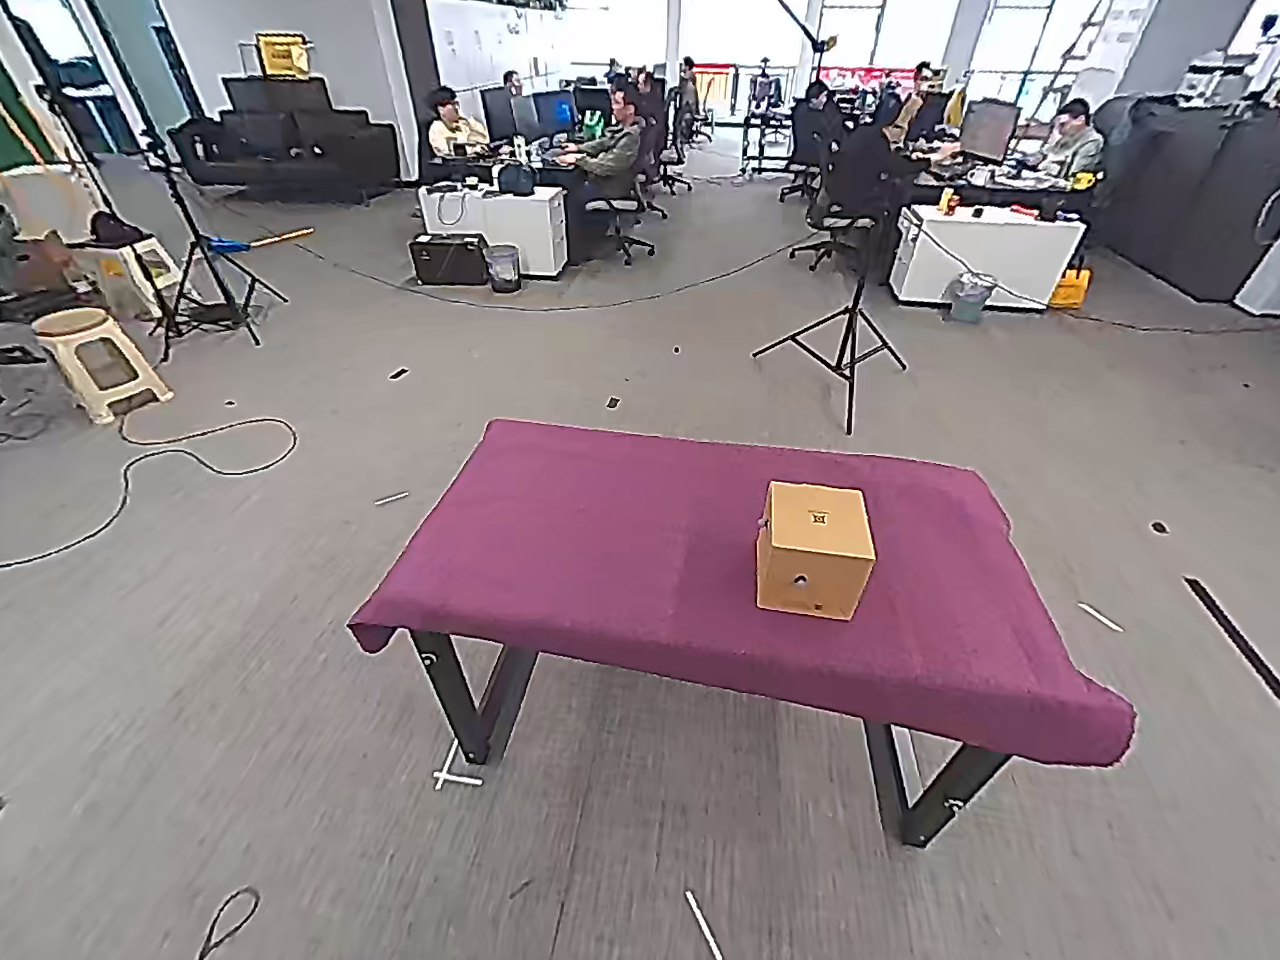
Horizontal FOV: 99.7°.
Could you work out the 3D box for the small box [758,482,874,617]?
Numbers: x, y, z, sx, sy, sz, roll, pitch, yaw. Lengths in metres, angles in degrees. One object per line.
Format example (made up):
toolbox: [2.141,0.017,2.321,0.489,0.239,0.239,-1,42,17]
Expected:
small box: [0.311,0.127,0.989,0.168,0.176,0.179,6,39,7]
